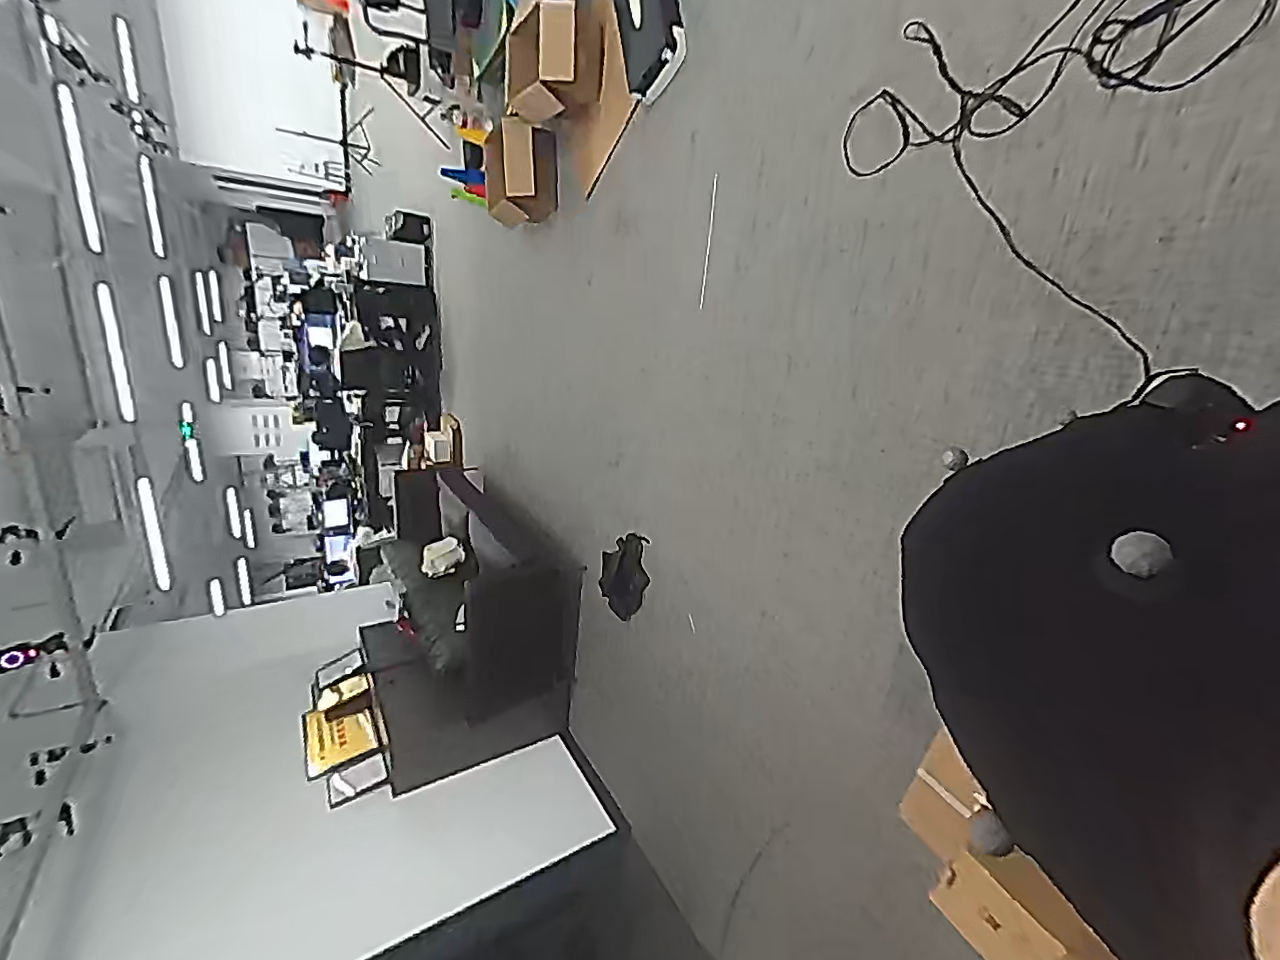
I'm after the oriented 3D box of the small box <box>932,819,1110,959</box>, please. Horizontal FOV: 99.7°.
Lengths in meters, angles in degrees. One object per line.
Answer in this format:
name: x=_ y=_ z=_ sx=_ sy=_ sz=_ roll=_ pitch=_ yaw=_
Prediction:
small box: x=0.674 y=0.748 z=0.965 sx=0.179 sy=0.176 sz=0.168 roll=40 pitch=129 yaw=47
